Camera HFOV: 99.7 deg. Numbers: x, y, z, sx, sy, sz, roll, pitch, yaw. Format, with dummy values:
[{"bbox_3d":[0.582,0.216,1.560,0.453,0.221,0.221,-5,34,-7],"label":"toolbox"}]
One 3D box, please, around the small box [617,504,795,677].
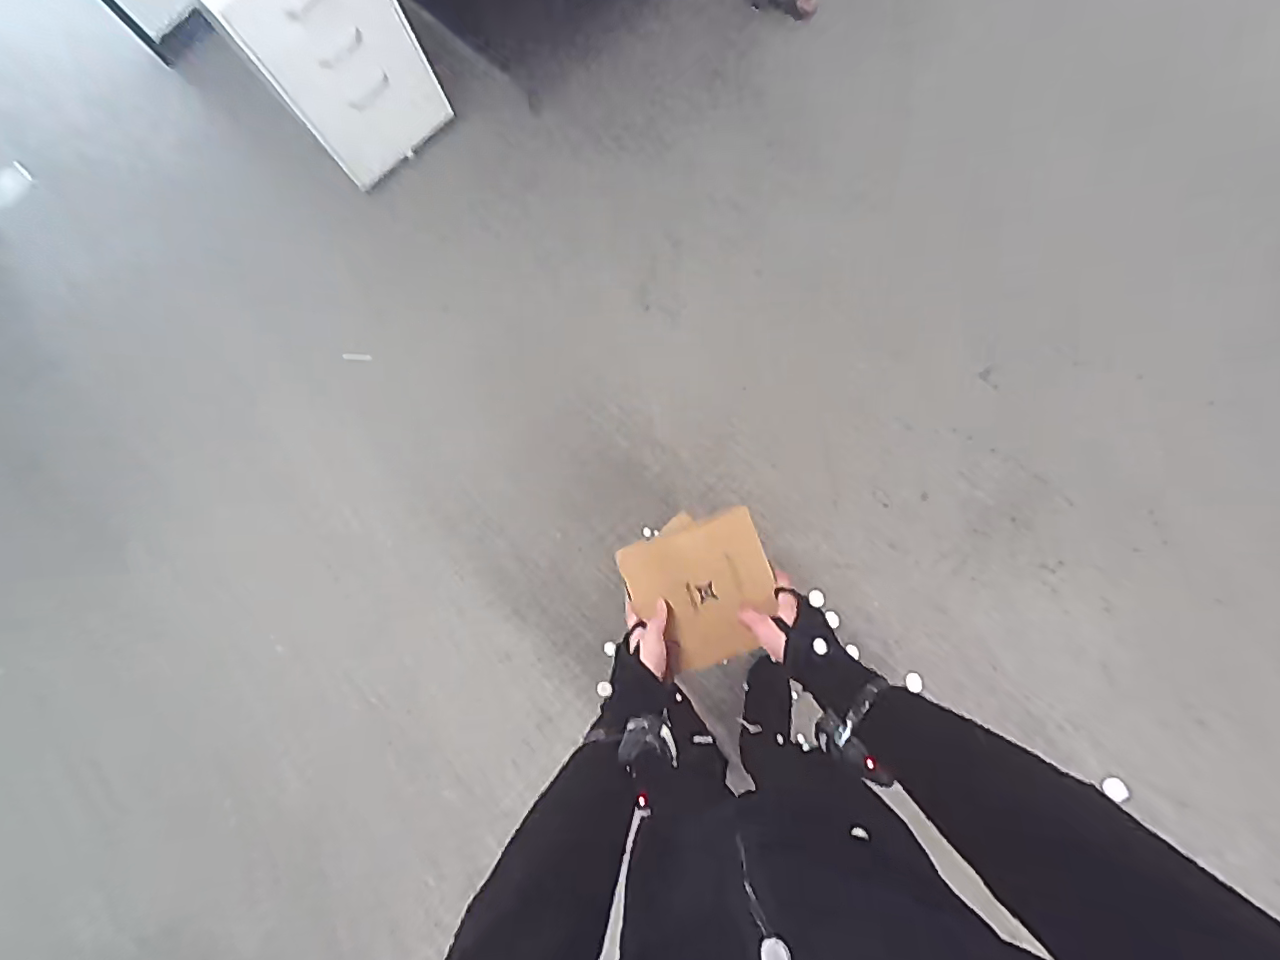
[{"bbox_3d":[0.085,0.140,0.736,0.179,0.176,0.168,-21,86,2],"label":"small box"}]
